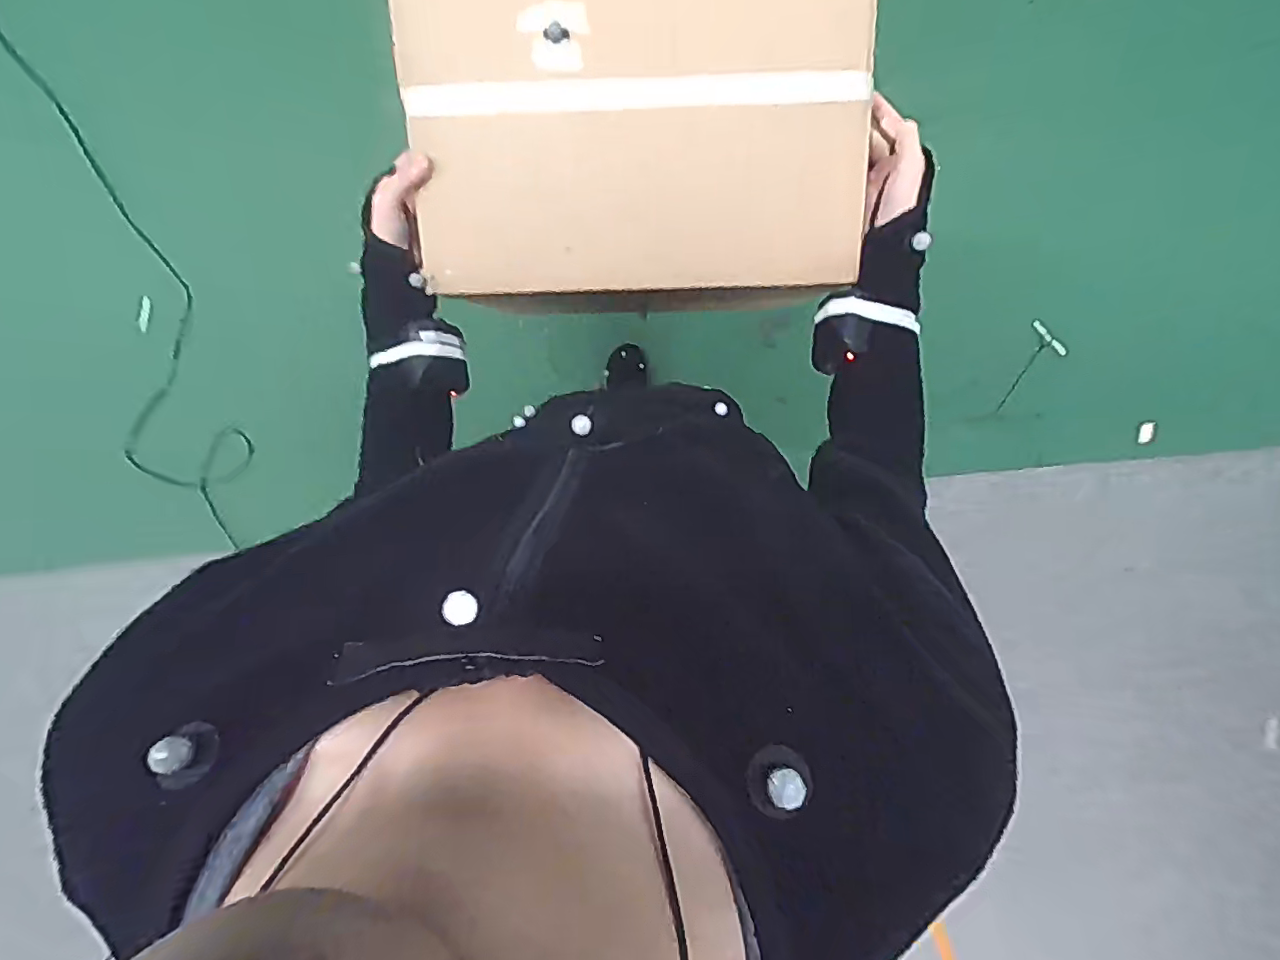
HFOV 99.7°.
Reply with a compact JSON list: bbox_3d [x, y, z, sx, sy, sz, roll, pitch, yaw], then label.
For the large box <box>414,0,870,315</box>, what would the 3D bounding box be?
[{"bbox_3d":[0.007,-0.365,0.632,0.408,0.320,0.320,0,102,2],"label":"large box"}]
